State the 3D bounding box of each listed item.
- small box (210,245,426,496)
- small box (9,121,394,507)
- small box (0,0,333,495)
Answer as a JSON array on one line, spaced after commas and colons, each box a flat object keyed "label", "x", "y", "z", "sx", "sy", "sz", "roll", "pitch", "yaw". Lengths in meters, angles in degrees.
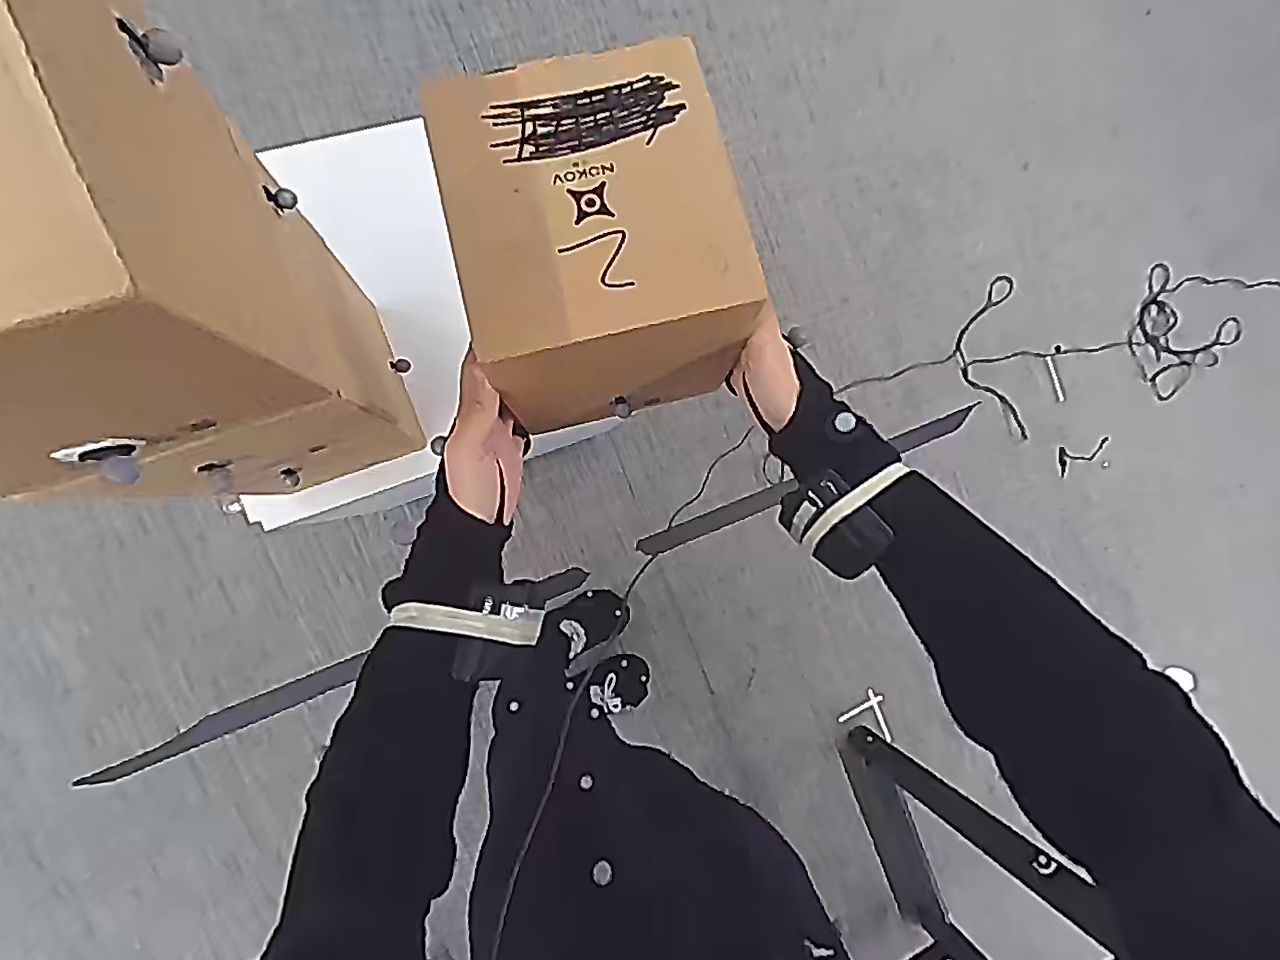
[{"label": "small box", "x": -0.328, "y": -0.091, "z": 0.526, "sx": 0.168, "sy": 0.176, "sz": 0.179, "roll": -21, "pitch": 92, "yaw": -12}, {"label": "small box", "x": -0.292, "y": -0.093, "z": 0.367, "sx": 0.168, "sy": 0.176, "sz": 0.179, "roll": -22, "pitch": 93, "yaw": -12}, {"label": "small box", "x": -0.257, "y": -0.099, "z": 0.208, "sx": 0.168, "sy": 0.176, "sz": 0.179, "roll": -22, "pitch": 94, "yaw": -11}]
